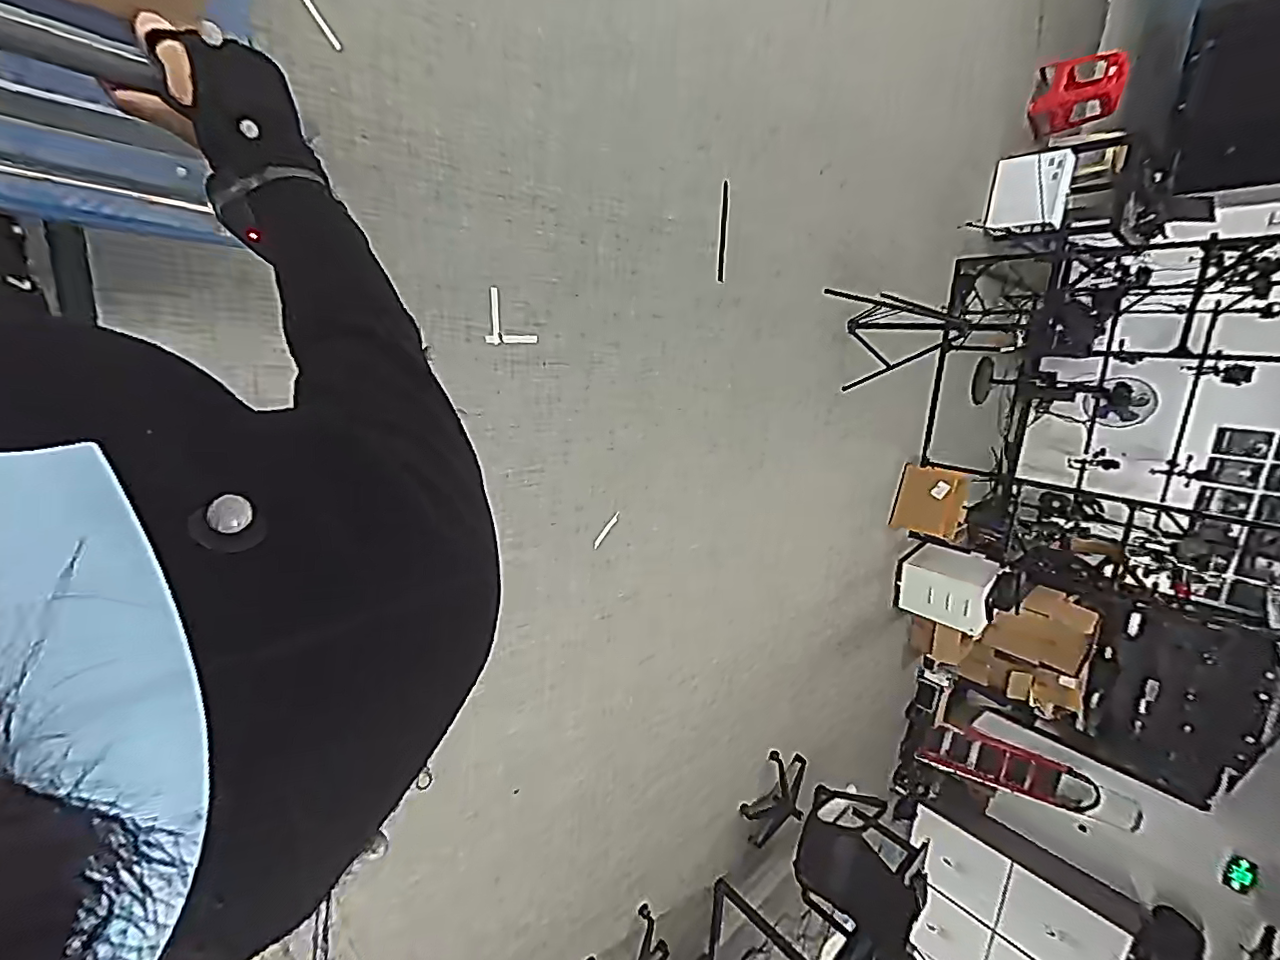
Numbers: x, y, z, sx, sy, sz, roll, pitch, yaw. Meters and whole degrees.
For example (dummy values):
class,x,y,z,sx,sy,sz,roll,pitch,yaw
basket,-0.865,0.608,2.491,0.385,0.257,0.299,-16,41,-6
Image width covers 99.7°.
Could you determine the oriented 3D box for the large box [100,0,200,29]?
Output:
class,x,y,z,sx,sy,sz,roll,pitch,yaw
large box,-0.803,-0.861,0.657,0.408,0.320,0.320,-5,105,-42
